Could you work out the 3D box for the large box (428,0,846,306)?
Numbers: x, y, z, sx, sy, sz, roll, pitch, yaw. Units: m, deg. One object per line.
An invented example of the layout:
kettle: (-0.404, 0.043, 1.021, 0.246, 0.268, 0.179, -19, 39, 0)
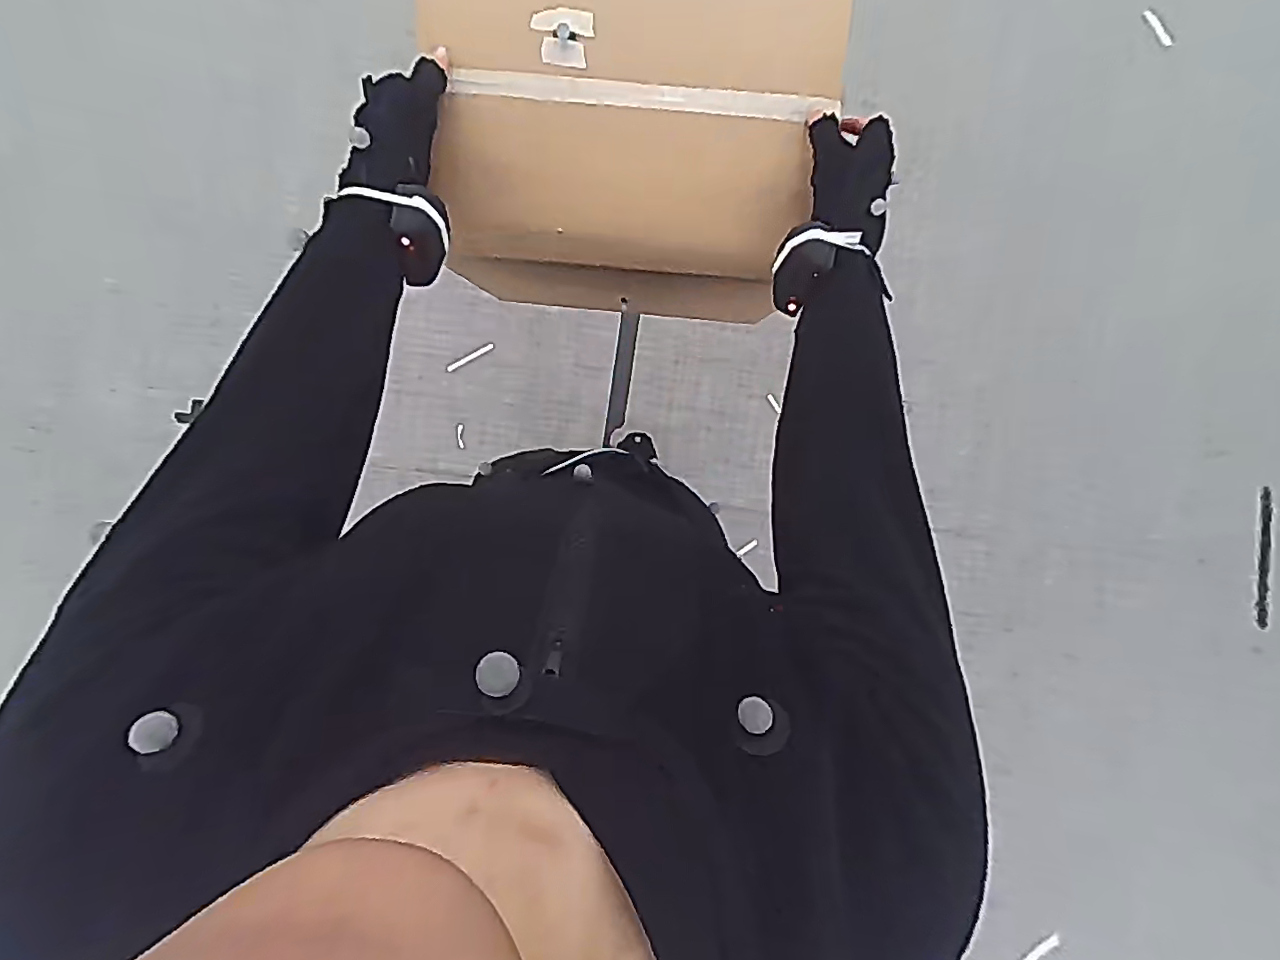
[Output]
large box: (-0.004, -0.404, 0.673, 0.408, 0.320, 0.320, 5, 99, 0)
